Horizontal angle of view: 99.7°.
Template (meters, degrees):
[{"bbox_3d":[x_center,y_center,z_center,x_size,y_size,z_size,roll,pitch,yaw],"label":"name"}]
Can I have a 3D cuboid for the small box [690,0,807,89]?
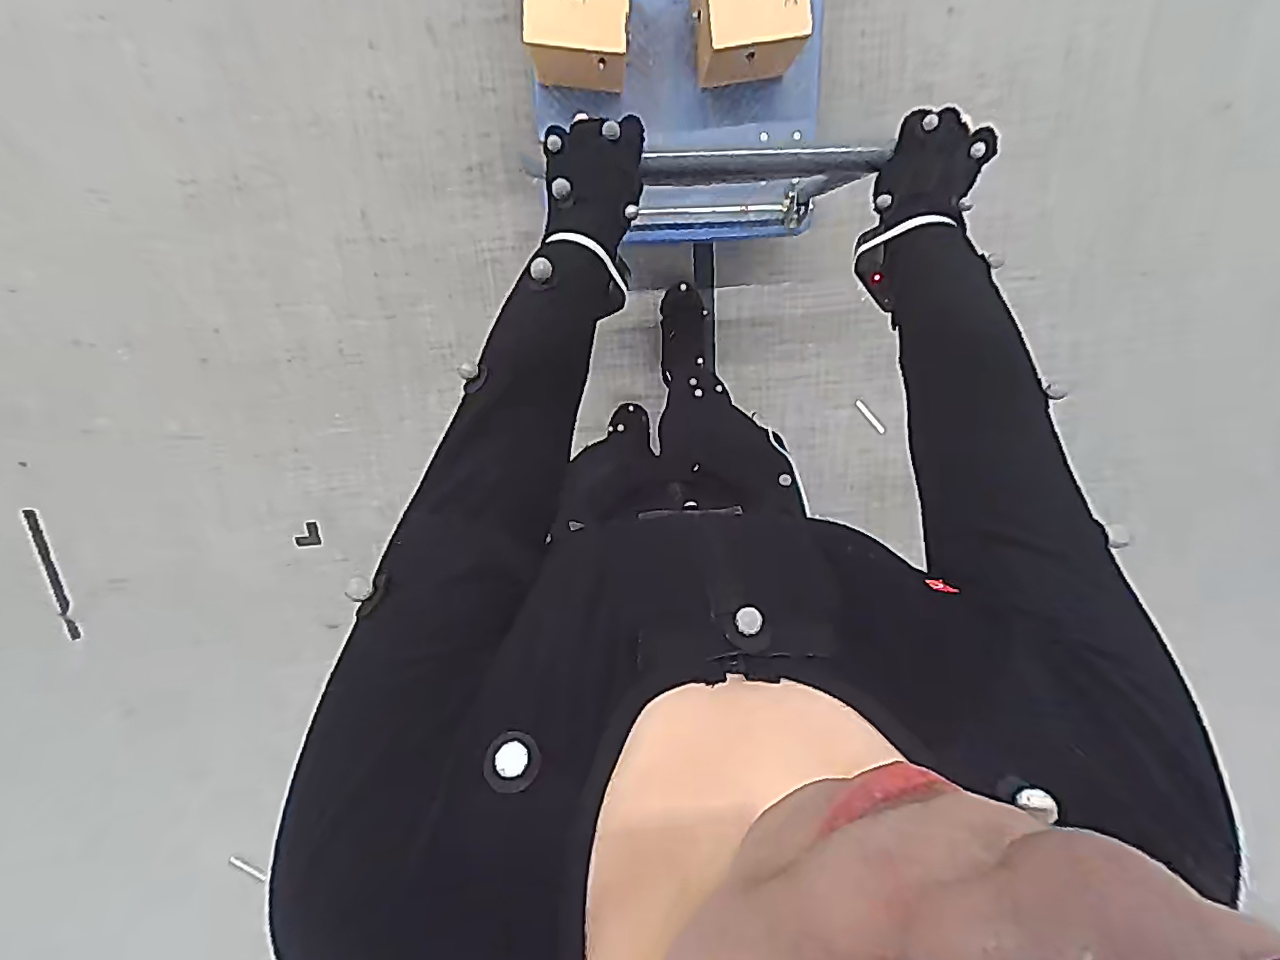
[{"bbox_3d":[0.187,-0.839,0.975,0.179,0.176,0.168,-8,107,0],"label":"small box"}]

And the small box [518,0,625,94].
[{"bbox_3d":[-0.117,-0.821,0.967,0.179,0.176,0.168,2,106,-5],"label":"small box"}]
